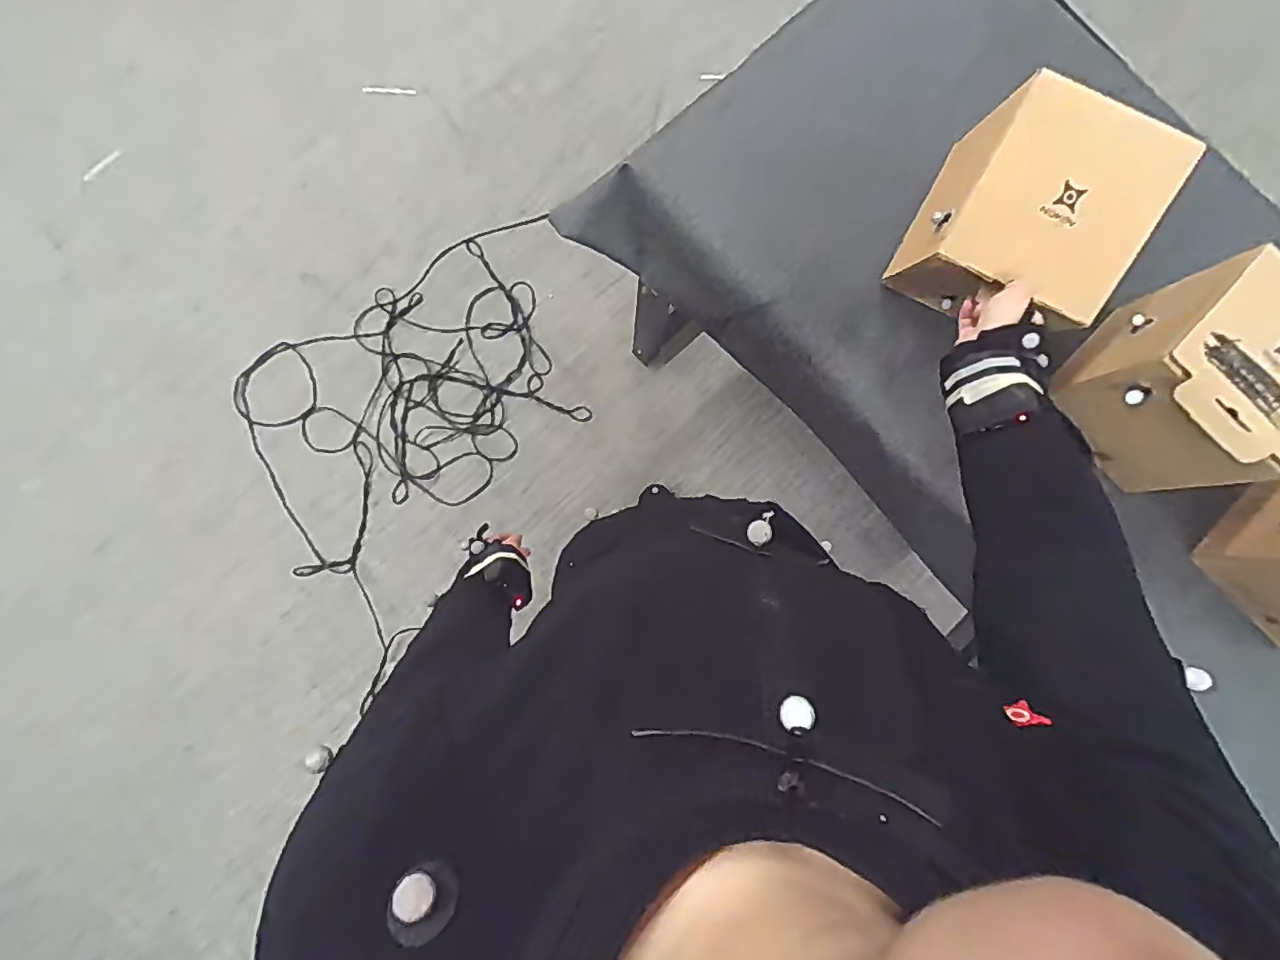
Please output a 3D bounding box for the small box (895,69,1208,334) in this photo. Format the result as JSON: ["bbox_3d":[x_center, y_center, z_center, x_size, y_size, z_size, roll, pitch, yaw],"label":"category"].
[{"bbox_3d":[0.407,-0.273,0.578,0.168,0.176,0.179,26,103,1],"label":"small box"}]

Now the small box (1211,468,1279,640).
[{"bbox_3d":[0.800,0.089,0.588,0.179,0.176,0.168,-44,89,-7],"label":"small box"}]
